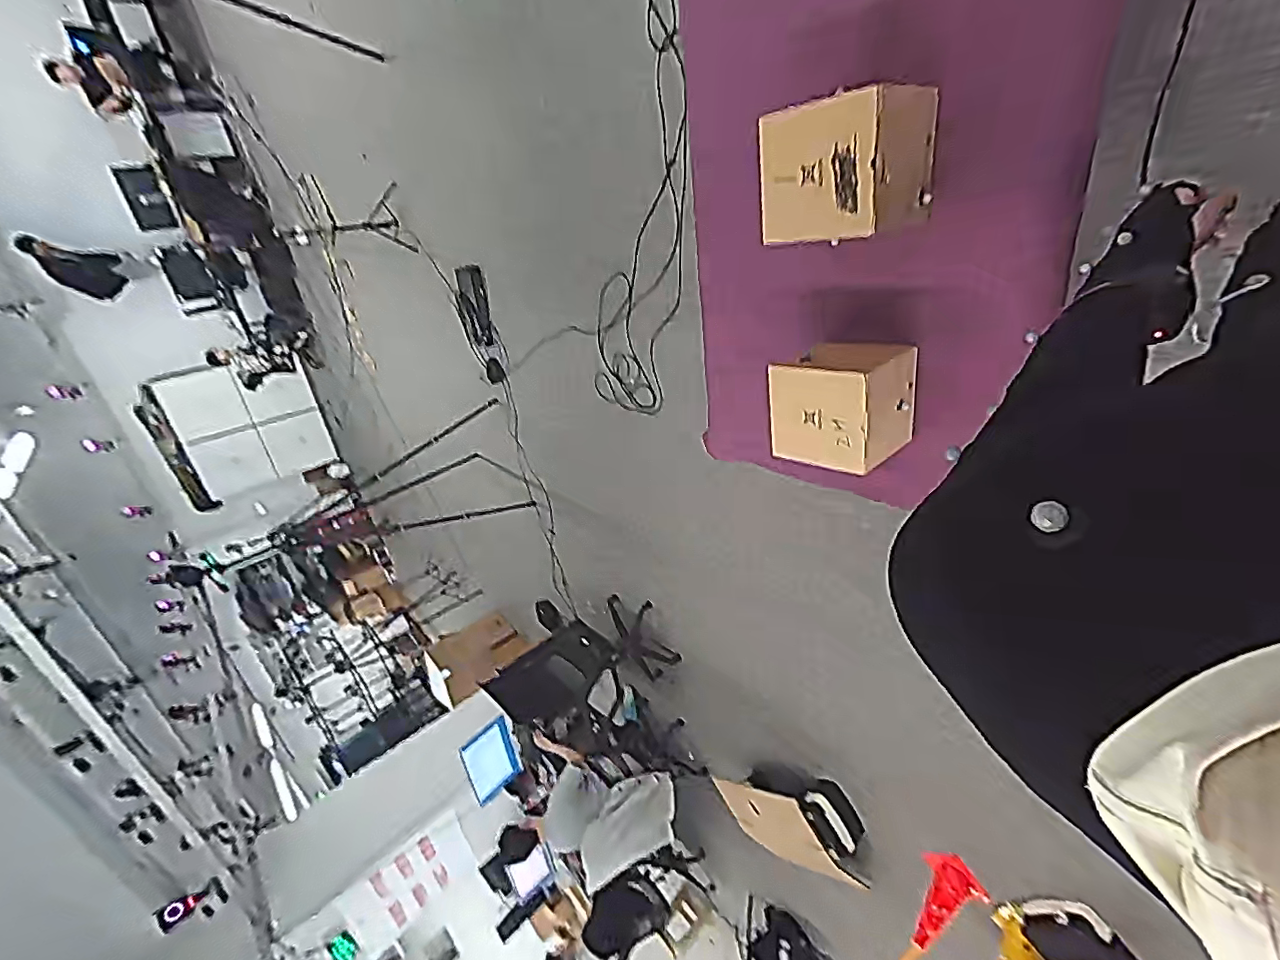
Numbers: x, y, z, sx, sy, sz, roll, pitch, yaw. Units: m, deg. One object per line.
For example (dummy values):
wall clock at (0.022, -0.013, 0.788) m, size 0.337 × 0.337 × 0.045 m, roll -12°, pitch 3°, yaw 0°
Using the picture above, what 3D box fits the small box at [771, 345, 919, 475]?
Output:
small box at (0.346, -0.129, 0.923) m, size 0.179 × 0.176 × 0.168 m, roll 18°, pitch 126°, yaw 46°

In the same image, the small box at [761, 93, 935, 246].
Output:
small box at (0.298, -0.440, 0.779) m, size 0.179 × 0.176 × 0.168 m, roll 20°, pitch 127°, yaw 46°
